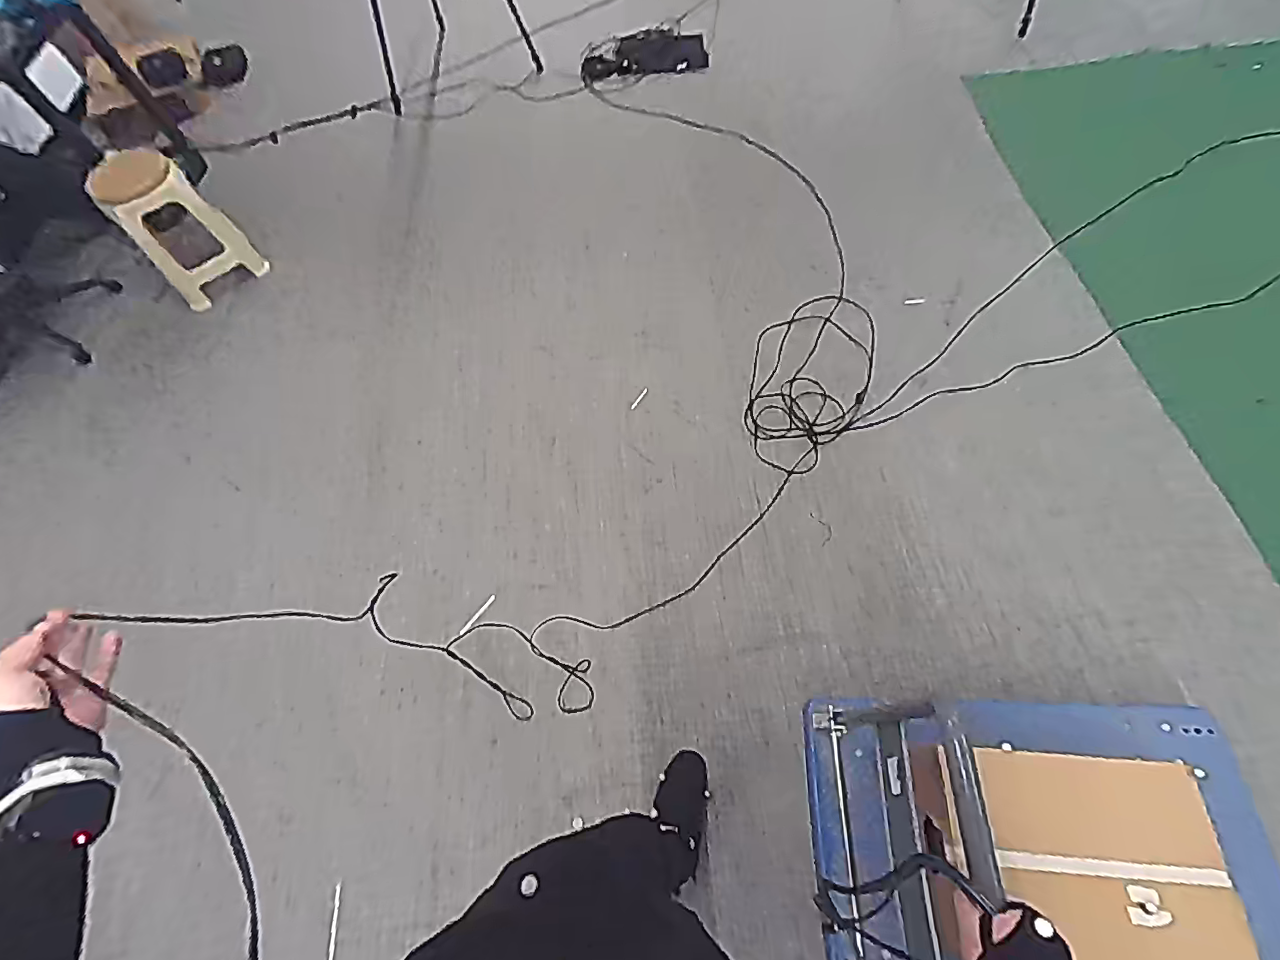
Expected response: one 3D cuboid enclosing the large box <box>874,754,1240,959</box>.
[{"bbox_3d":[0.694,0.687,0.980,0.408,0.320,0.320,2,63,5],"label":"large box"}]
